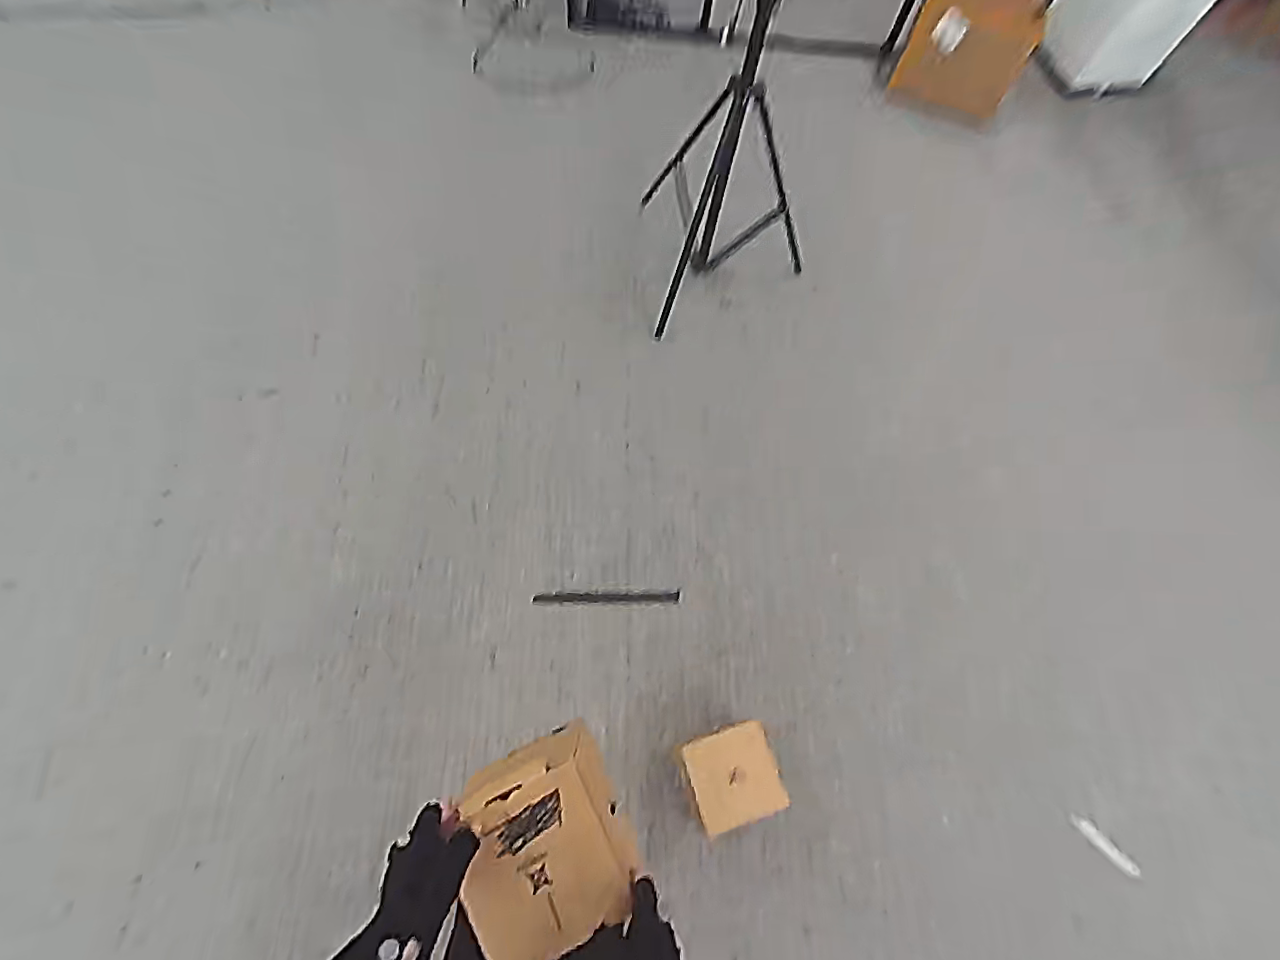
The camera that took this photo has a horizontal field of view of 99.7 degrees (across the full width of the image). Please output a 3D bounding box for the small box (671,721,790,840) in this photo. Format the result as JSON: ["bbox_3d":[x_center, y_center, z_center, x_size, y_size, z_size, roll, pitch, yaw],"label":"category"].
[{"bbox_3d":[0.179,0.618,1.133,0.179,0.176,0.168,-16,67,-12],"label":"small box"}]

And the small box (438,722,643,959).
[{"bbox_3d":[-0.110,0.415,0.648,0.168,0.176,0.179,-26,83,-6],"label":"small box"}]
